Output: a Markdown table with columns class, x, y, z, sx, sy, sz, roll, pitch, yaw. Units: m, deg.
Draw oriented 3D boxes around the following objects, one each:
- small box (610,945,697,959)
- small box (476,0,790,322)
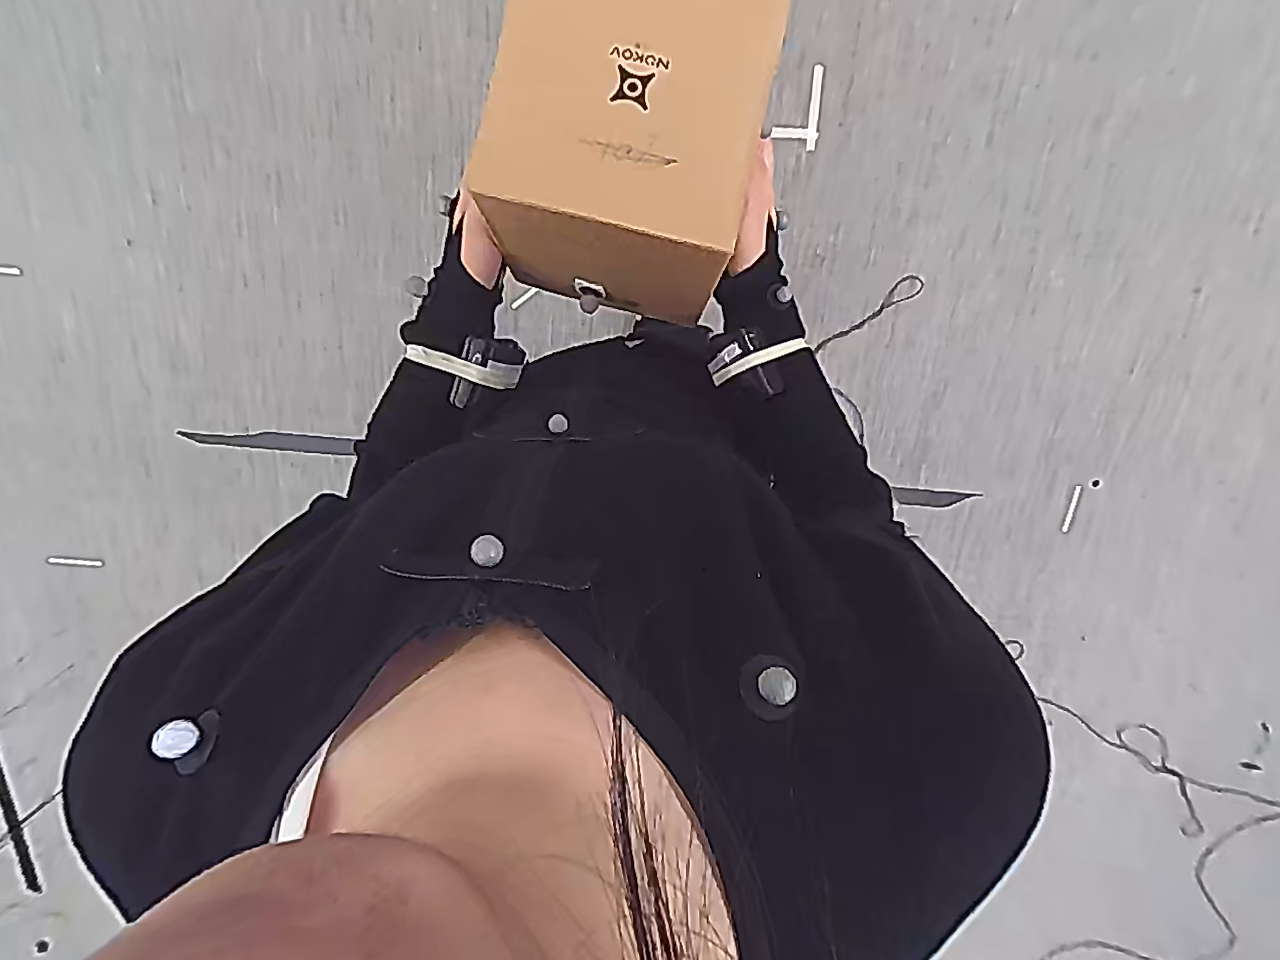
| class | x | y | z | sx | sy | sz | roll | pitch | yaw |
| --- | --- | --- | --- | --- | --- | --- | --- | --- | --- |
| small box | 0.023 | 0.972 | 0.952 | 0.168 | 0.176 | 0.179 | 1 | 107 | -1 |
| small box | -0.006 | -0.242 | 0.410 | 0.168 | 0.176 | 0.179 | 12 | 90 | -2 |
